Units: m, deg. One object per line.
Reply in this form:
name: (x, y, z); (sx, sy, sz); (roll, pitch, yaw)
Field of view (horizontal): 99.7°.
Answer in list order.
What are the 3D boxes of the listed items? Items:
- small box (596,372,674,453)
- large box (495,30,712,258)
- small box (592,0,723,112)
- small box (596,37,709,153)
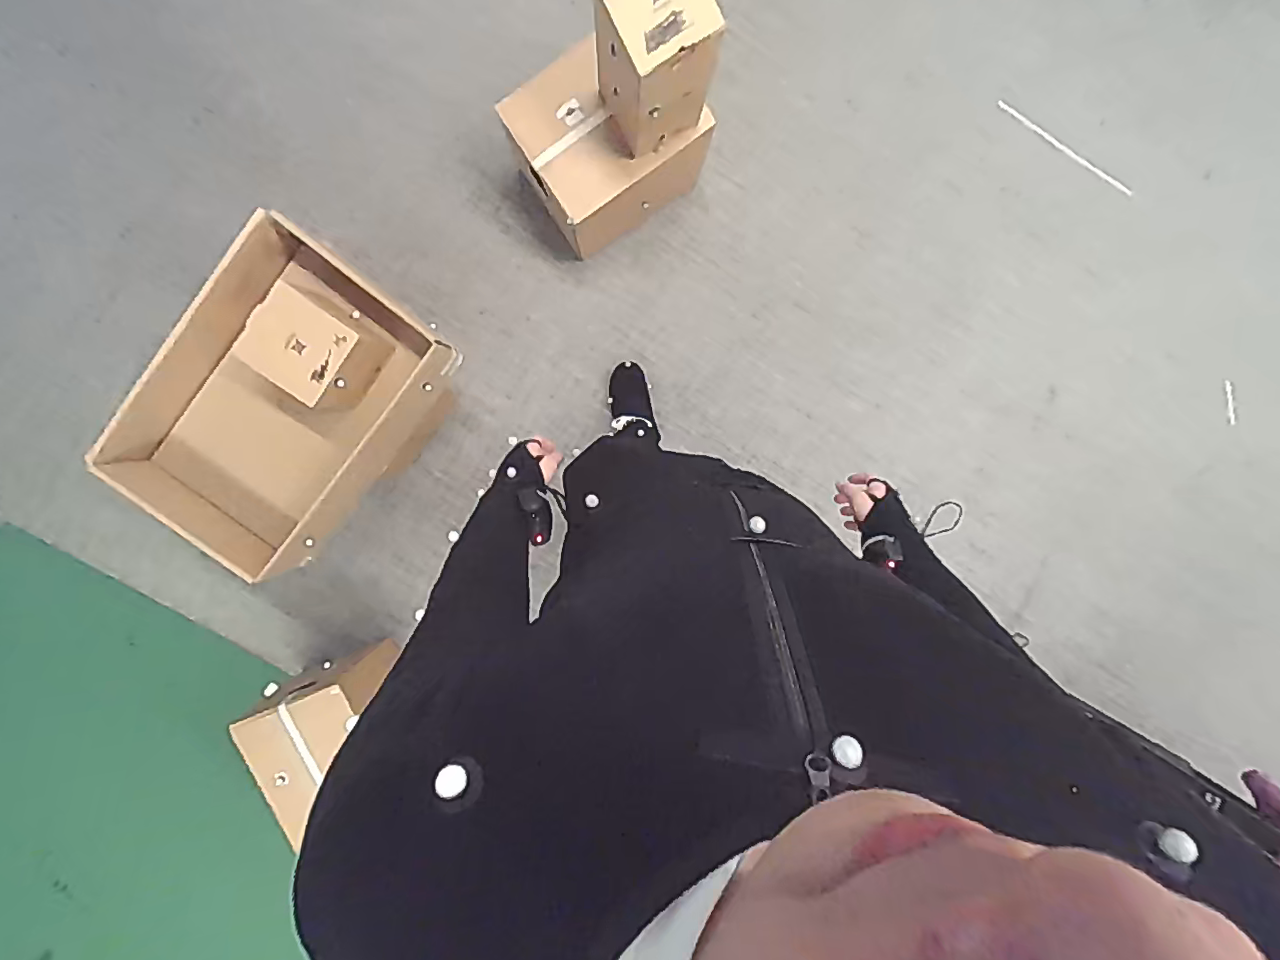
small box: (-0.011, -0.187, 1.544); (0.168, 0.176, 0.179); (23, 95, 3)
large box: (-0.083, -0.841, 1.361); (0.408, 0.320, 0.320); (-35, 96, 4)
small box: (0.026, -0.797, 0.959); (0.168, 0.176, 0.179); (-28, 98, 3)
small box: (0.020, -0.828, 1.119); (0.168, 0.176, 0.179); (-29, 99, 3)
